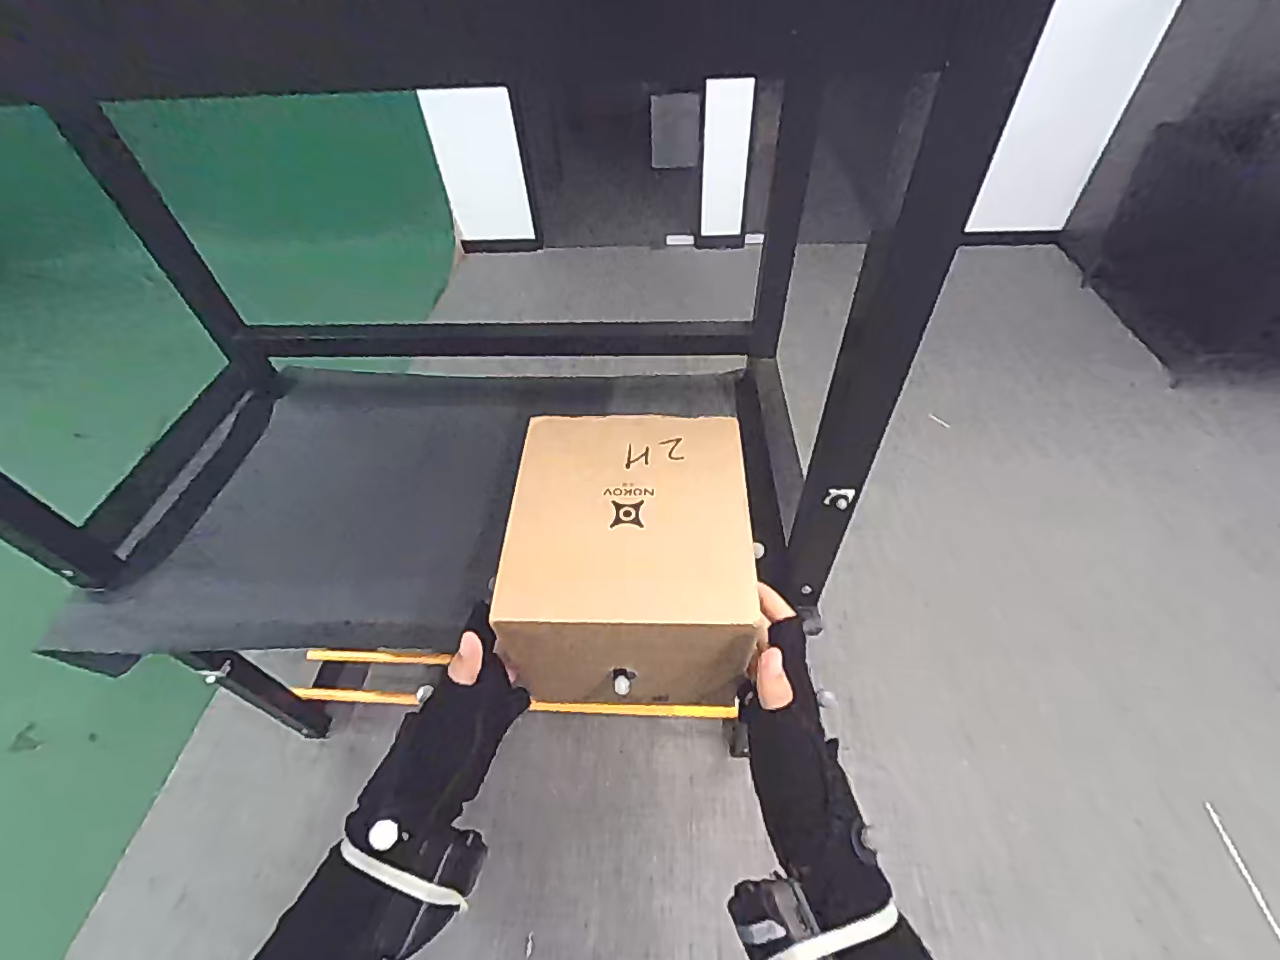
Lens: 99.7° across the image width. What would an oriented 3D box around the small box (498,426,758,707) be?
[{"bbox_3d":[-0.003,0.075,0.444,0.168,0.176,0.179,1,50,2],"label":"small box"}]
